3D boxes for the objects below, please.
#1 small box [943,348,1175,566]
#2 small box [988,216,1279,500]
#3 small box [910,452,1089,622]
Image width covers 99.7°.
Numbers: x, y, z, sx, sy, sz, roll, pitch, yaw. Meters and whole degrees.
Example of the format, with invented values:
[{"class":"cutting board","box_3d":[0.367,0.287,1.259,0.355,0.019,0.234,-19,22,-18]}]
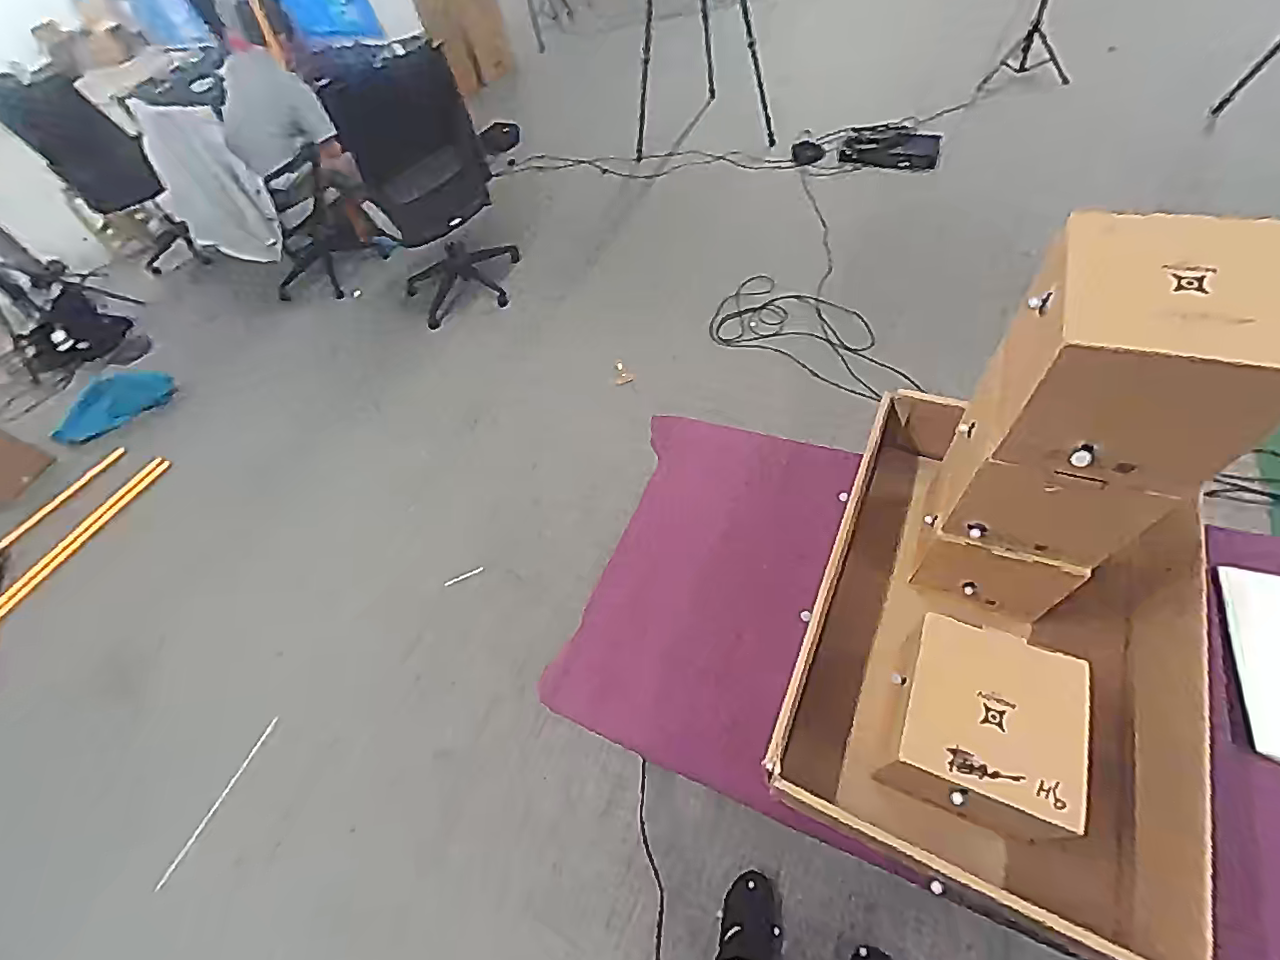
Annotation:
[{"class":"small box","box_3d":[0.473,-0.023,0.633,0.168,0.176,0.179,15,61,20]},{"class":"small box","box_3d":[0.447,-0.110,0.499,0.168,0.176,0.179,15,62,21]},{"class":"small box","box_3d":[0.499,0.073,0.764,0.168,0.176,0.179,16,62,21]}]
